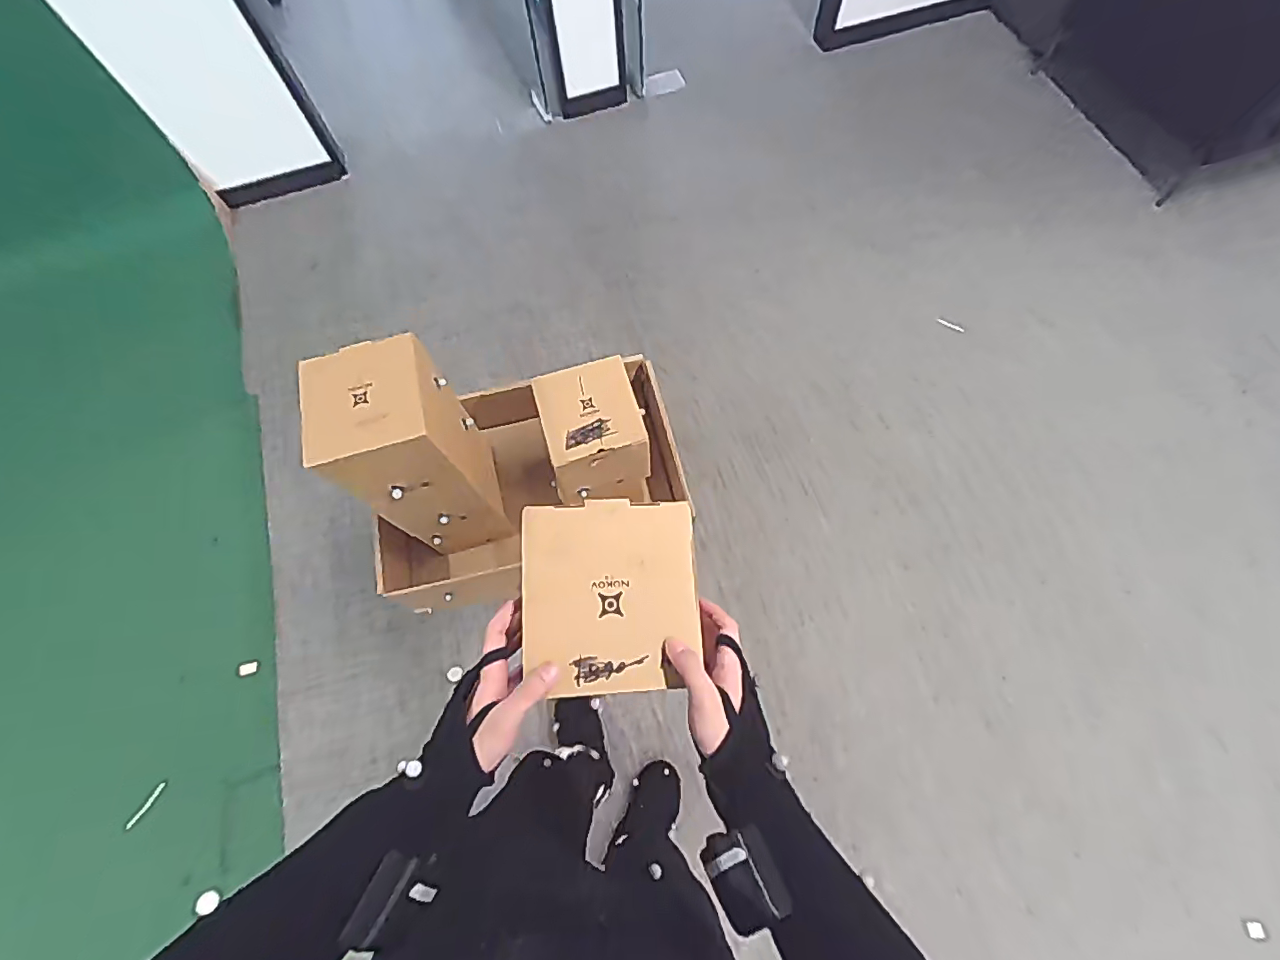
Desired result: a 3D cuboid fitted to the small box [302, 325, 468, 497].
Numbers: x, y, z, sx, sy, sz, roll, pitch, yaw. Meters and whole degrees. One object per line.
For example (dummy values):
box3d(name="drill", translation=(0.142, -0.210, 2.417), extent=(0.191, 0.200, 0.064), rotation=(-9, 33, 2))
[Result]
box3d(name="small box", translation=(-0.375, -0.096, 0.813), extent=(0.168, 0.176, 0.179), rotation=(-16, 69, -3))

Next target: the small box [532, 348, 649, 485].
box3d(name="small box", translation=(-0.082, -0.104, 0.981), extent=(0.168, 0.176, 0.179), rotation=(-16, 69, -5))

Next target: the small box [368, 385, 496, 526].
box3d(name="small box", translation=(-0.370, -0.038, 0.966), extent=(0.168, 0.176, 0.179), rotation=(-16, 69, -3))

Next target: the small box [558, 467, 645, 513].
box3d(name="small box", translation=(-0.086, -0.049, 1.137), extent=(0.168, 0.176, 0.179), rotation=(-12, 69, -3))
